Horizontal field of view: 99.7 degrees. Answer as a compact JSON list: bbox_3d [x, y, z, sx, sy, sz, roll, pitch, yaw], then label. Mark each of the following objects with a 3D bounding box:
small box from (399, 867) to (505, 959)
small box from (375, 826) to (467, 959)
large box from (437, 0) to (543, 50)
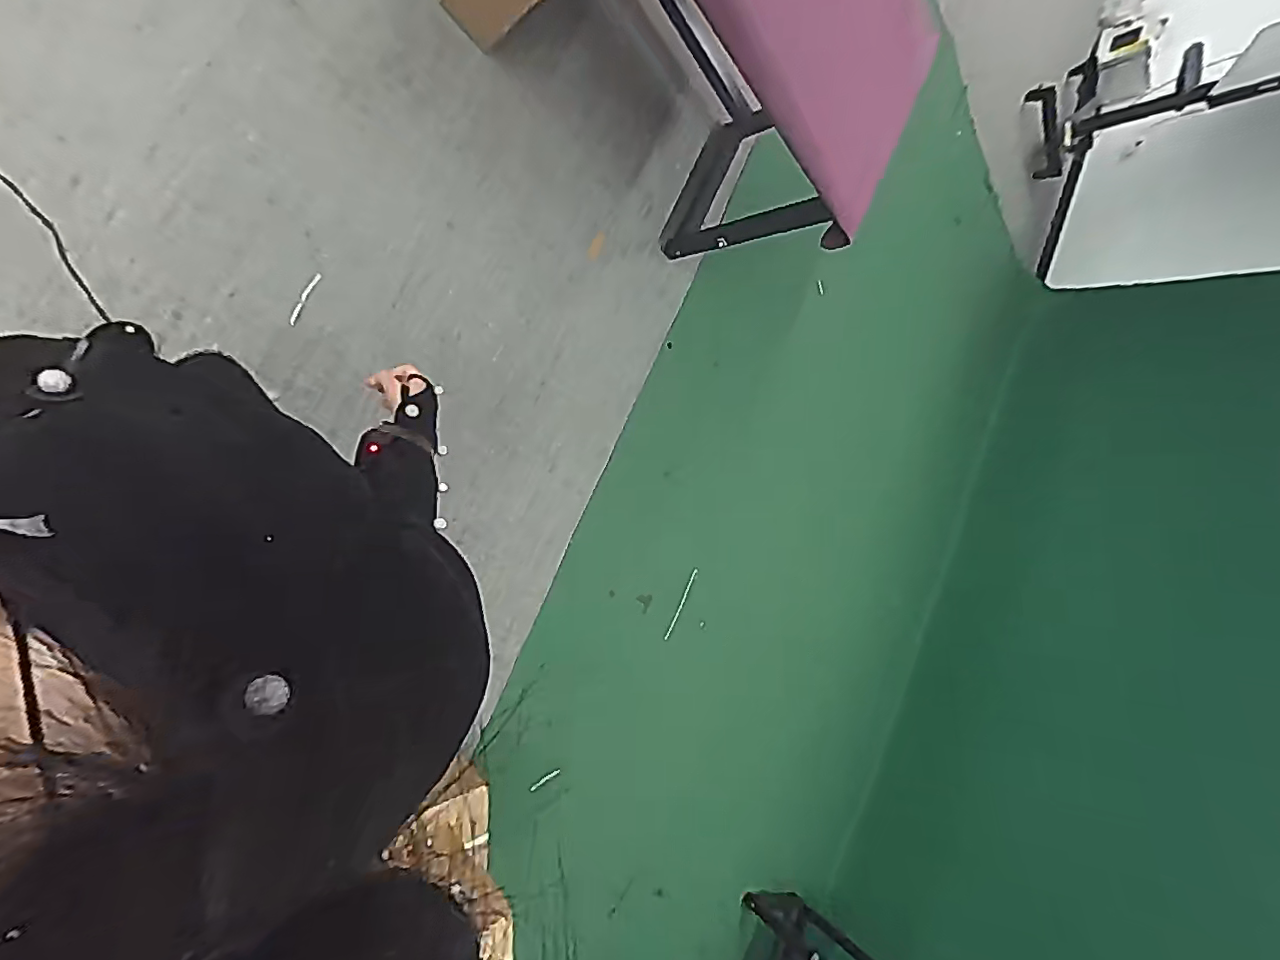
[{"bbox_3d":[-0.402,0.985,1.148,0.168,0.176,0.179,-4,100,-41],"label":"small box"},{"bbox_3d":[-0.508,0.973,1.272,0.168,0.176,0.179,-10,105,-40],"label":"small box"},{"bbox_3d":[-0.333,-1.354,1.267,0.320,0.320,0.408,32,79,-39],"label":"large box"}]
